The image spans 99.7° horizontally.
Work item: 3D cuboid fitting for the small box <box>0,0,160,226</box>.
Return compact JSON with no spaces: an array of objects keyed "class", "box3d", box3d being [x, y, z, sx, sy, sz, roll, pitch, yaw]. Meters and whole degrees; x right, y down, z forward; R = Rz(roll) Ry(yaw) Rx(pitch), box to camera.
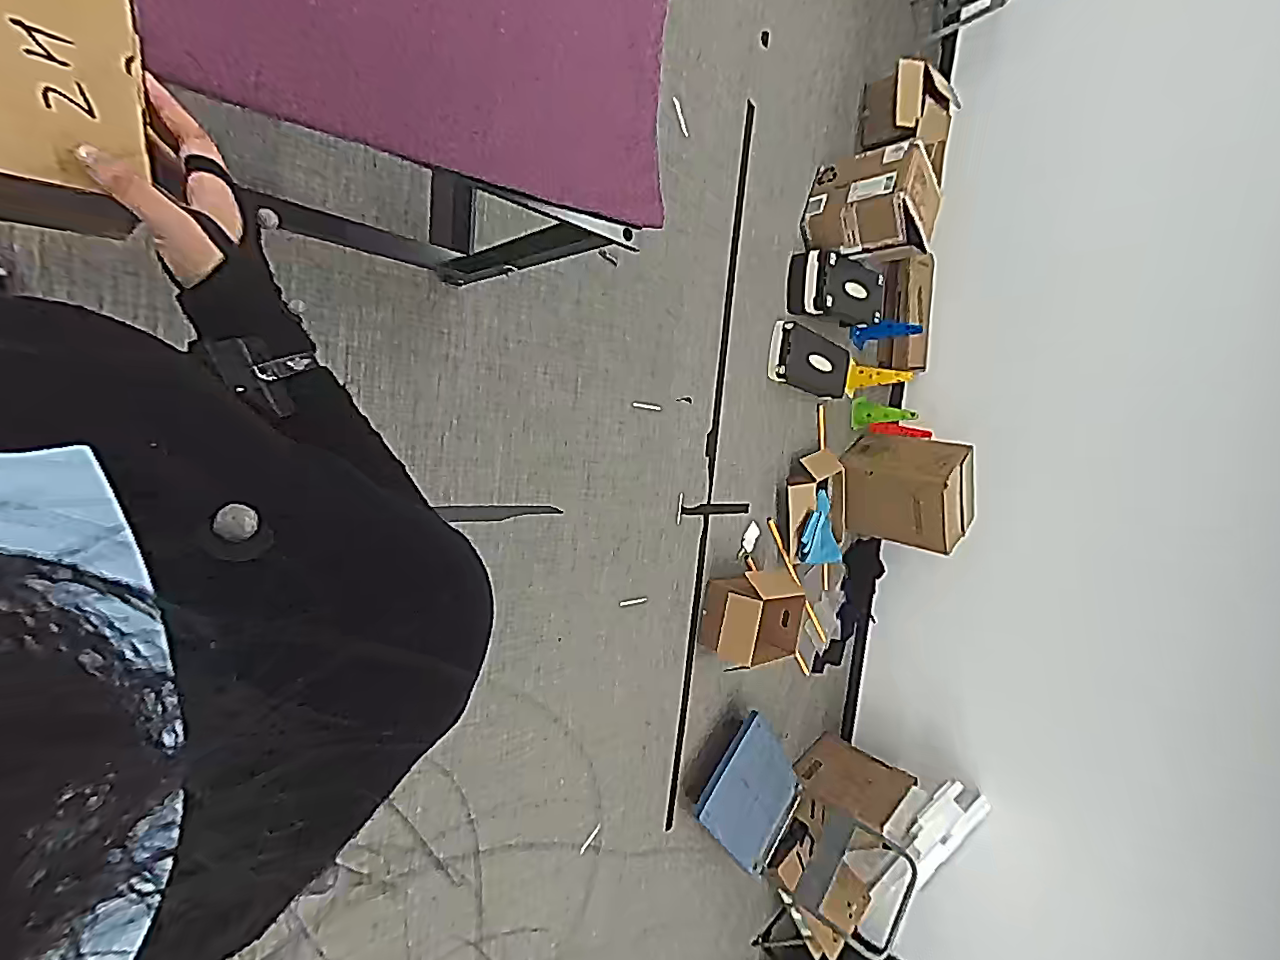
[{"class":"small box","box3d":[-0.430,-0.272,0.335,0.179,0.176,0.168,-7,105,-48]}]
